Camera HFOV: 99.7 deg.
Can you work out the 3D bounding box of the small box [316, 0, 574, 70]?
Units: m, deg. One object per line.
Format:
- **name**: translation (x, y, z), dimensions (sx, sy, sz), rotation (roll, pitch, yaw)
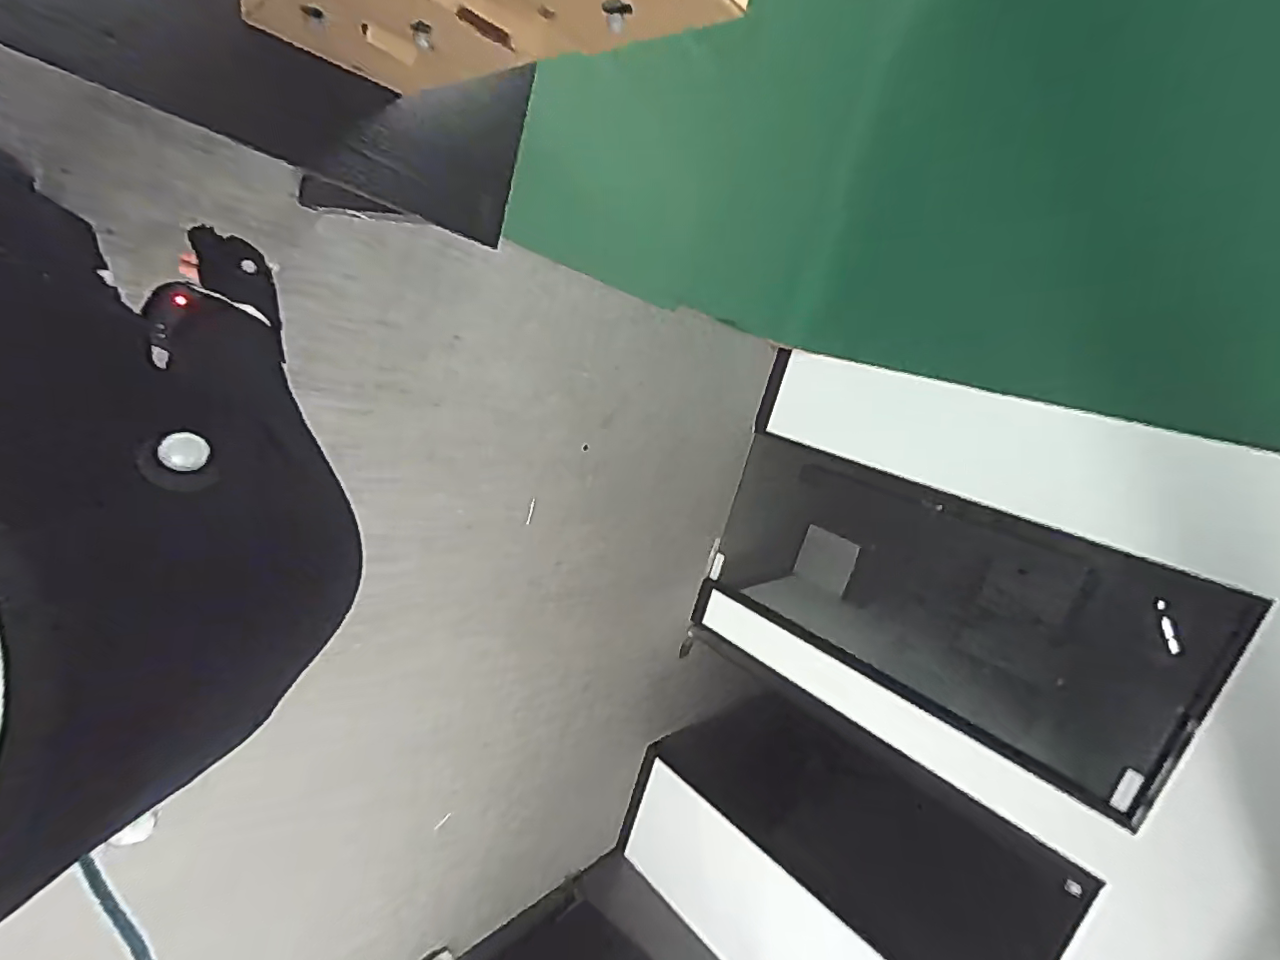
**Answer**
- **small box**: translation (-0.154, -0.460, 0.420), dimensions (0.168, 0.176, 0.179), rotation (-9, 117, -46)
